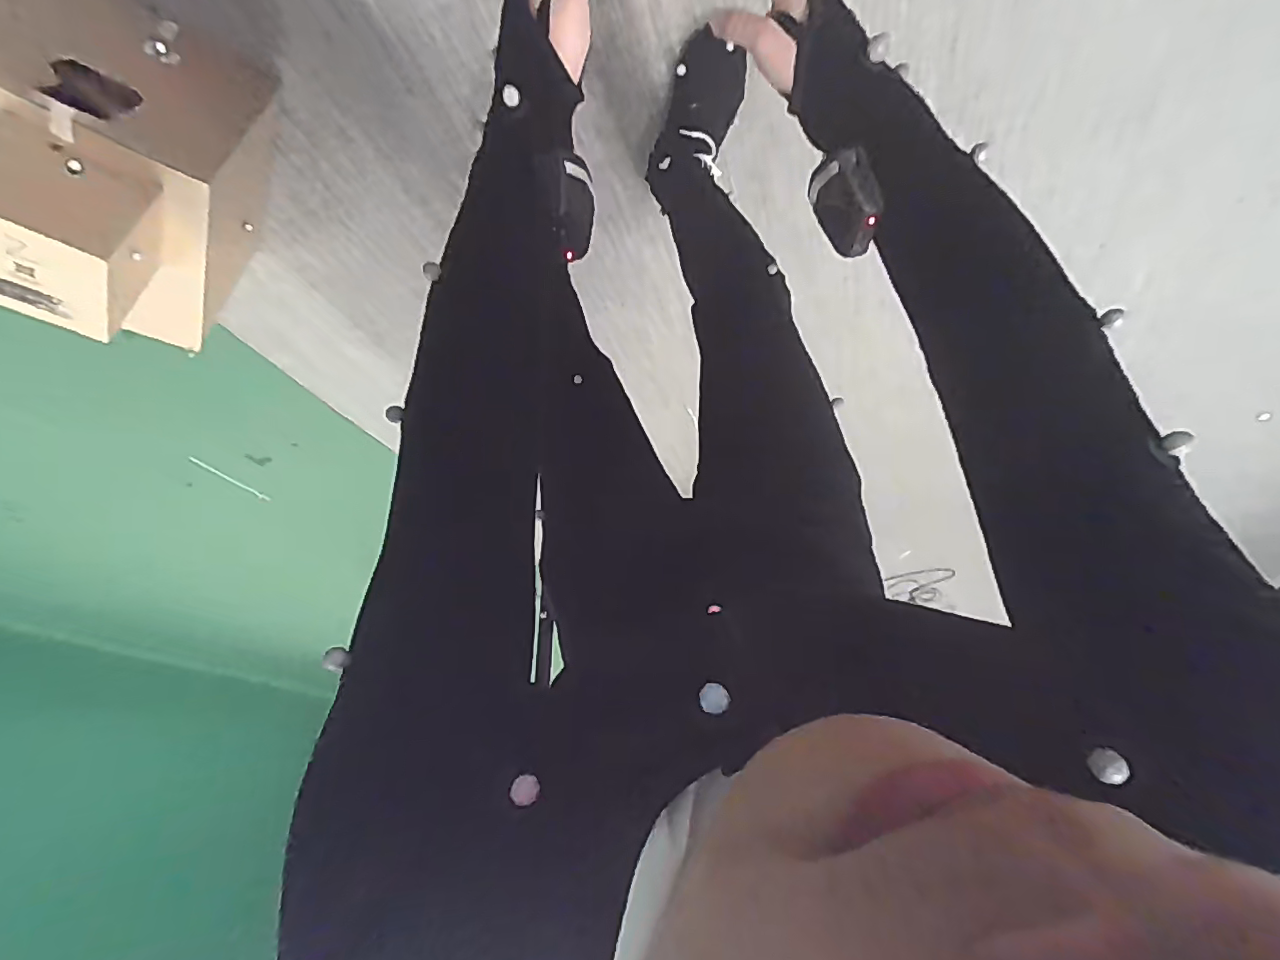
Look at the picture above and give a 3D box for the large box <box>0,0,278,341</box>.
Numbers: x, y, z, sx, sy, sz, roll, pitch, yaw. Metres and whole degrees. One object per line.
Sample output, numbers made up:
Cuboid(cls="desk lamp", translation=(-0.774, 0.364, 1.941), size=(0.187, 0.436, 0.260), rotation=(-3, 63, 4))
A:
Cuboid(cls="large box", translation=(-0.844, -0.523, 0.903), size=(0.320, 0.320, 0.408), rotation=(21, 143, -30))
